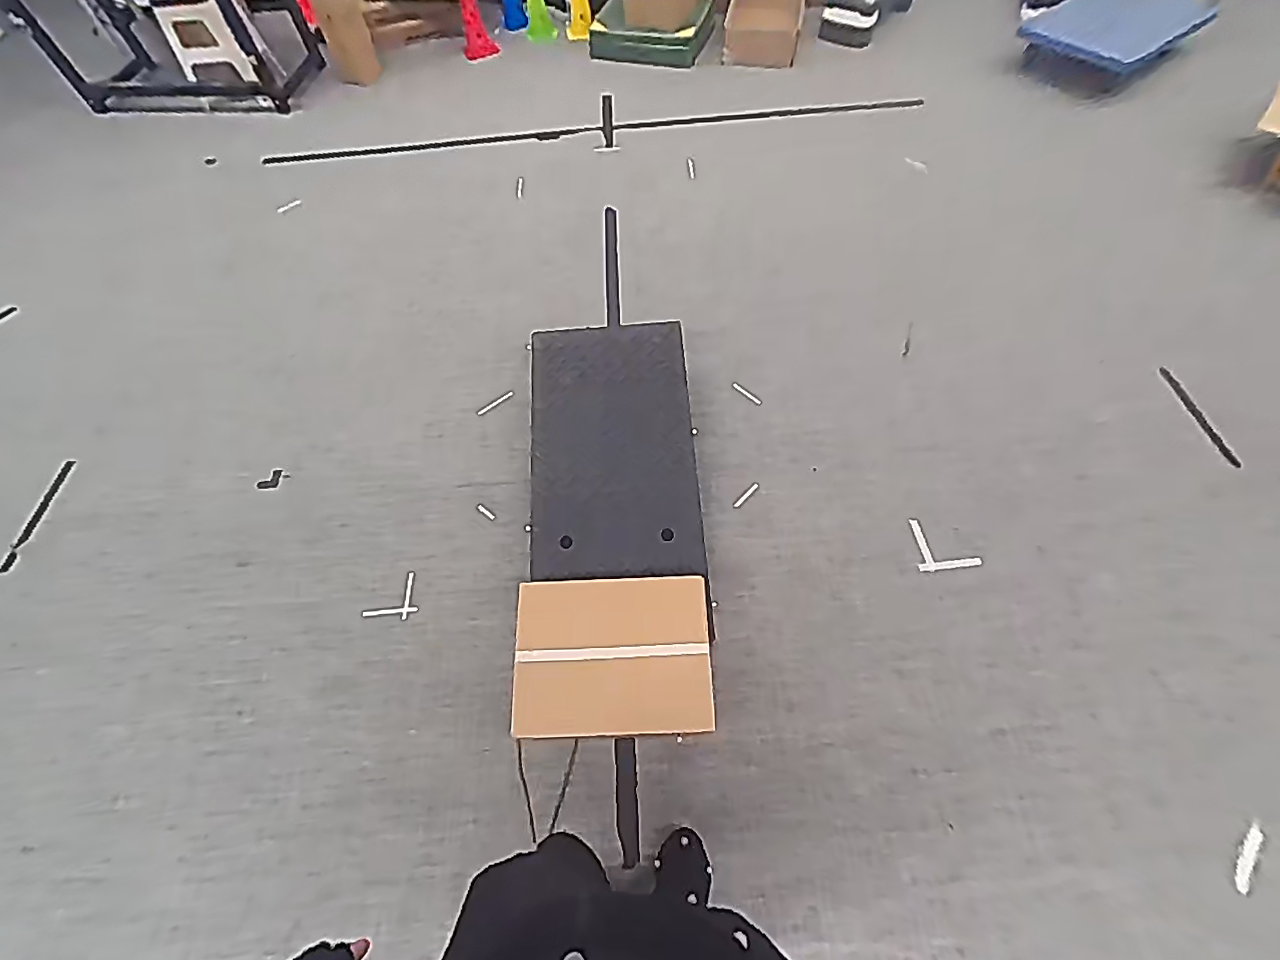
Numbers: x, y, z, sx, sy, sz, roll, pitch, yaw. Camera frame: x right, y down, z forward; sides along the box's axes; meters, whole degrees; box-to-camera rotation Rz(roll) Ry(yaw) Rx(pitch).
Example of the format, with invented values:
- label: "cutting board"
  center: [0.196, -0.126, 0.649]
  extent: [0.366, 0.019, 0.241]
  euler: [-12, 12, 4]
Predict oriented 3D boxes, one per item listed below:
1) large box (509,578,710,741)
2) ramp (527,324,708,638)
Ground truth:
- label: "large box"
  center: [-0.061, 0.427, 1.258]
  extent: [0.408, 0.320, 0.320]
  euler: [-2, 63, 1]
- label: "ramp"
  center: [-0.088, -0.029, 1.606]
  extent: [0.509, 0.206, 0.991]
  euler: [-5, 60, -2]
